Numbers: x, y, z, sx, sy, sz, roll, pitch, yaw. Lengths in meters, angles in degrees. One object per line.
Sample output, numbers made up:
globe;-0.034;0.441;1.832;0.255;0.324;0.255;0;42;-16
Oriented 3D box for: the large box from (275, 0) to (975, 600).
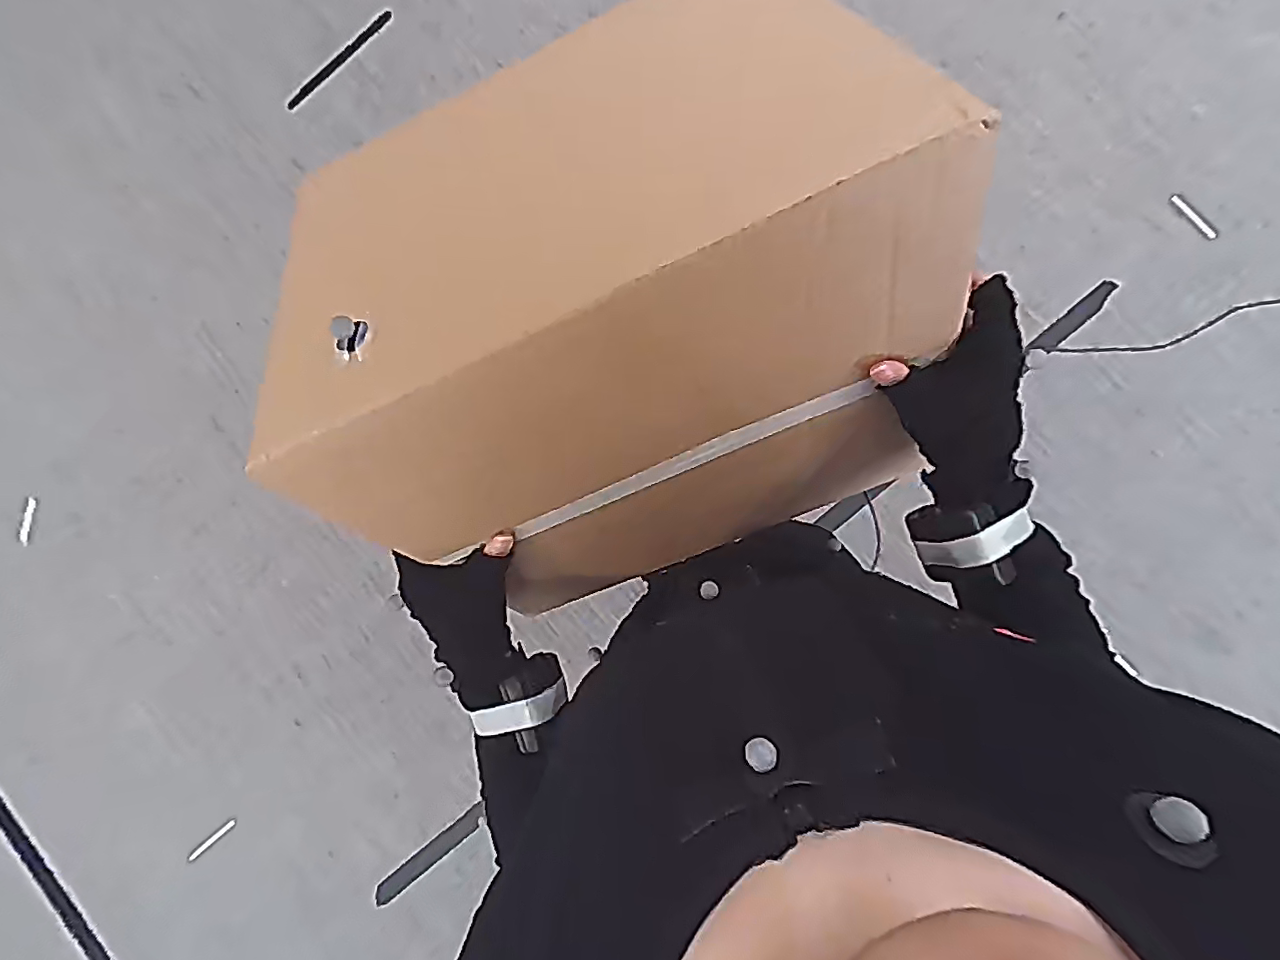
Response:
large box;-0.016;-0.142;0.477;0.408;0.320;0.320;-22;57;8
